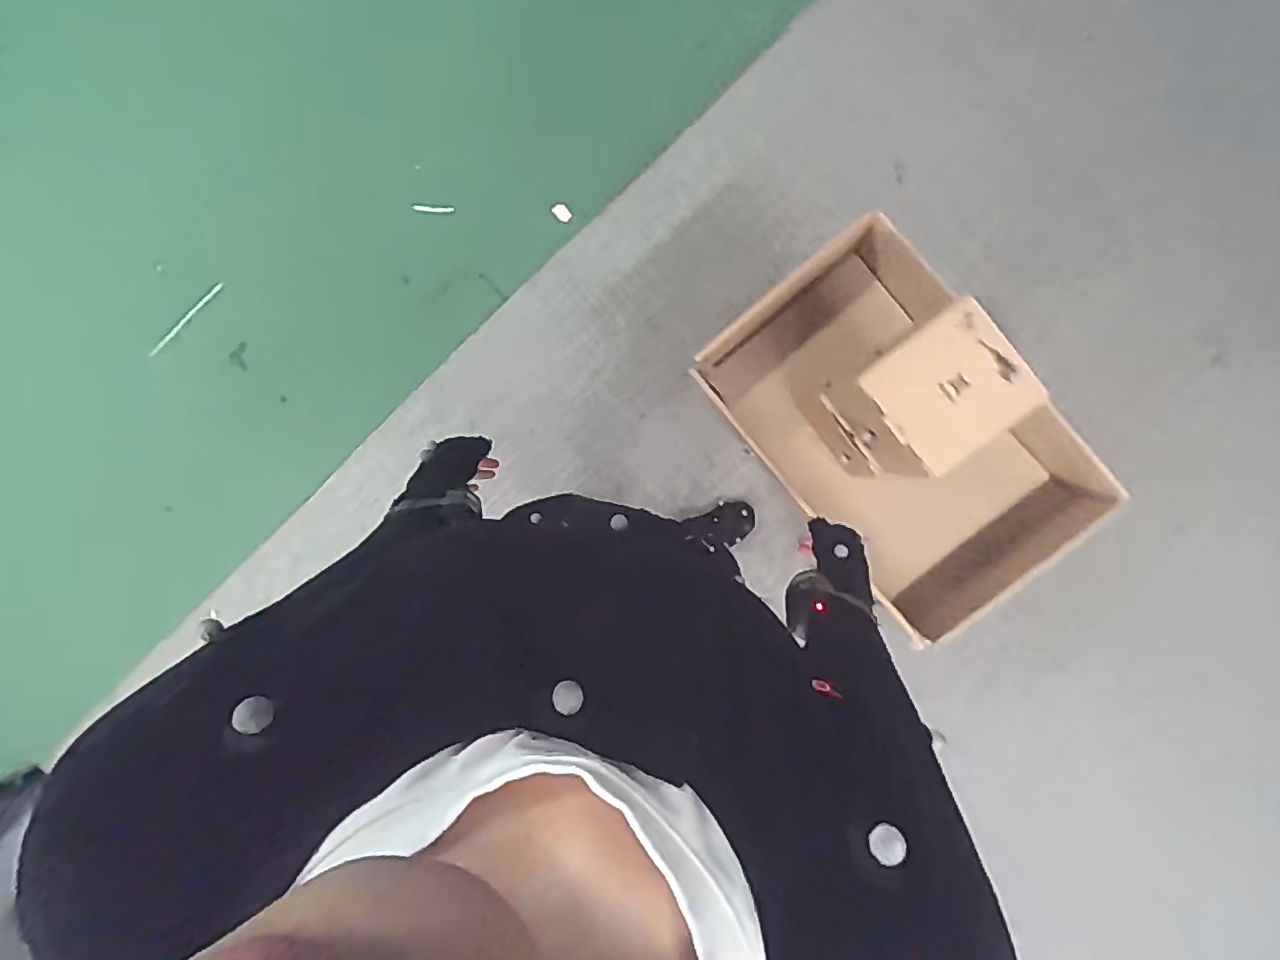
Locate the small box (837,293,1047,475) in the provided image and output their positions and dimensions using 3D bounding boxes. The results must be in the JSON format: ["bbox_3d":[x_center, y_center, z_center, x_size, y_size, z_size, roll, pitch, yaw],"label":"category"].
[{"bbox_3d":[0.402,-0.124,0.763,0.179,0.176,0.168,-37,90,6],"label":"small box"}]

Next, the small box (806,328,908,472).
[{"bbox_3d":[0.407,-0.127,0.928,0.179,0.176,0.168,-37,90,4],"label":"small box"}]
